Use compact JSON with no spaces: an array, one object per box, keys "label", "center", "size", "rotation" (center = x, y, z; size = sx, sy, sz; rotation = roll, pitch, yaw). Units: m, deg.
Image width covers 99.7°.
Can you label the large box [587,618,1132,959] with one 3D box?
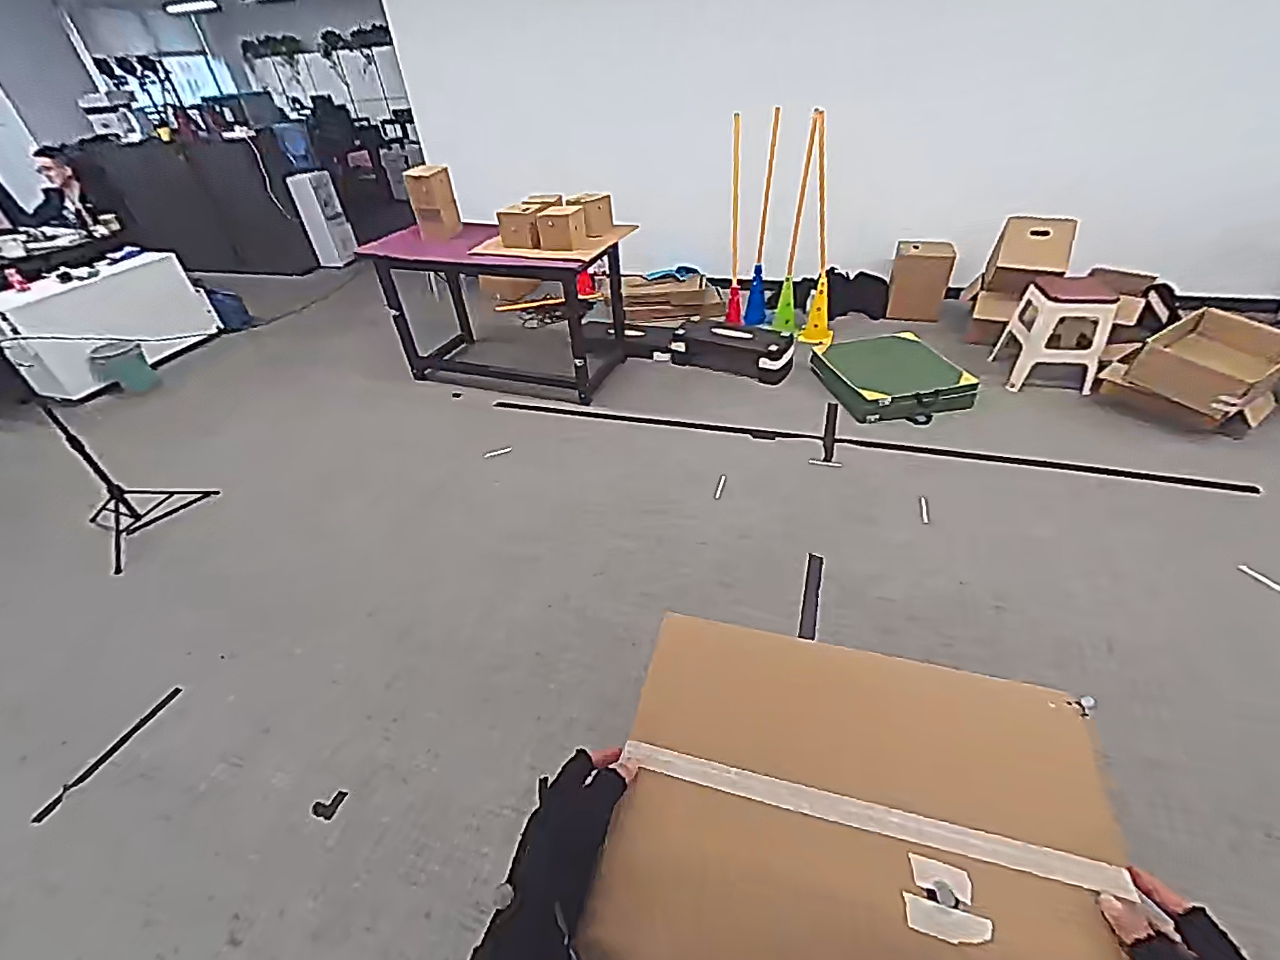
[{"label":"large box","center":[0.195,0.394,0.583],"size":[0.408,0.320,0.320],"rotation":[8,46,15]}]
